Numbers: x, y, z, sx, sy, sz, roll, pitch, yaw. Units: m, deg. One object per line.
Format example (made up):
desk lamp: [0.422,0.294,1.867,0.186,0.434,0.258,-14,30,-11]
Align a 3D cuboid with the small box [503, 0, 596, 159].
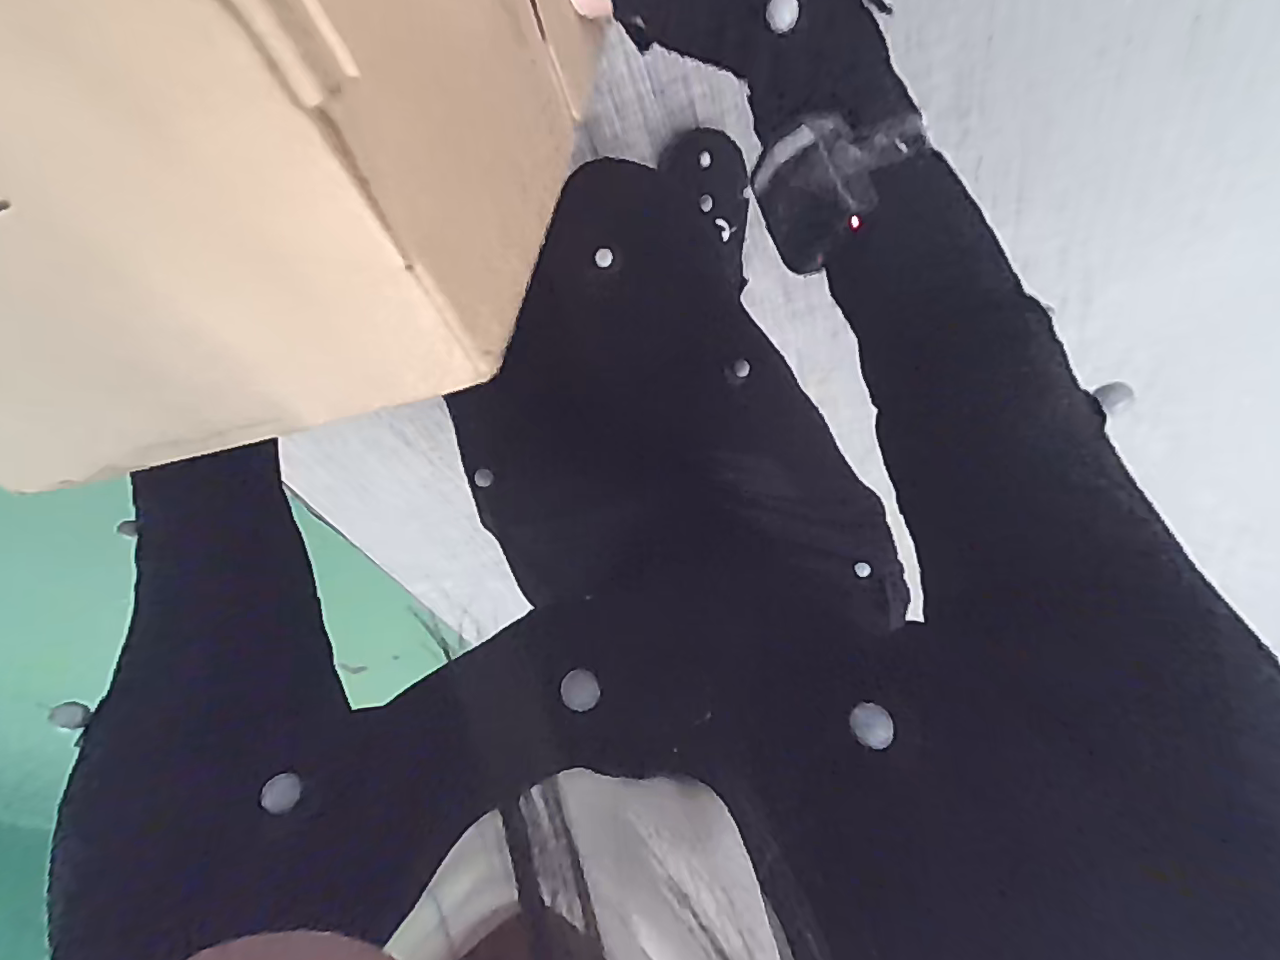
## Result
small box: [-0.129,-0.241,0.255,0.179,0.176,0.168,-12,138,18]
